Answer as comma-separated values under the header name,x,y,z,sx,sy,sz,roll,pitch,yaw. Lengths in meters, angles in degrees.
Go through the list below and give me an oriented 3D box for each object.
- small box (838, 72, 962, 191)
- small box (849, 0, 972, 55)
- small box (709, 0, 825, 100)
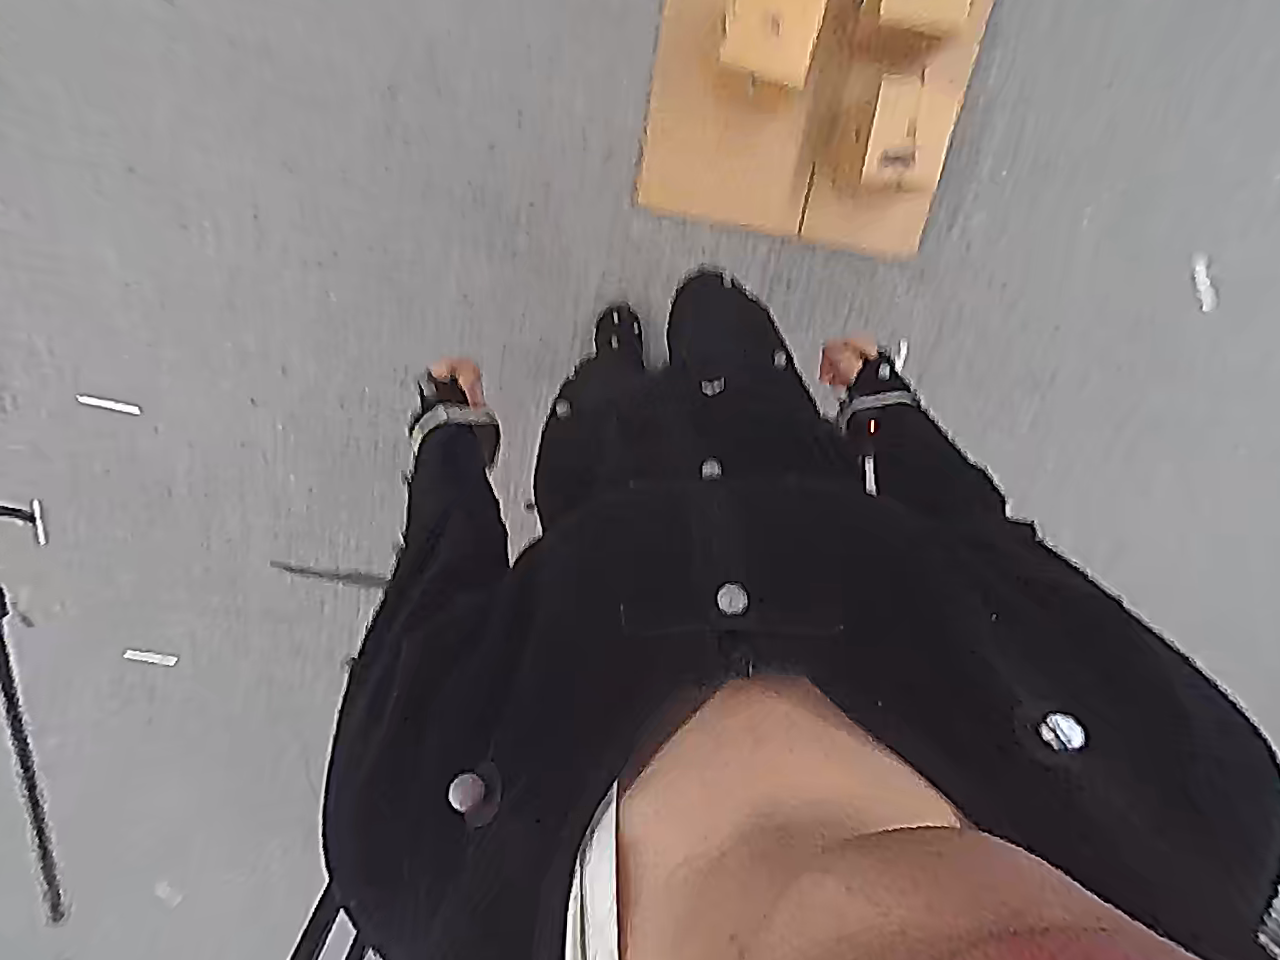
name,x,y,z,sx,sy,sz,roll,pitch,yaw
small box,0.545,-0.737,1.164,0.168,0.176,0.179,6,109,-3
small box,0.546,-0.983,1.078,0.179,0.176,0.168,5,108,-2
small box,0.252,-0.905,1.097,0.179,0.176,0.168,13,109,-5
